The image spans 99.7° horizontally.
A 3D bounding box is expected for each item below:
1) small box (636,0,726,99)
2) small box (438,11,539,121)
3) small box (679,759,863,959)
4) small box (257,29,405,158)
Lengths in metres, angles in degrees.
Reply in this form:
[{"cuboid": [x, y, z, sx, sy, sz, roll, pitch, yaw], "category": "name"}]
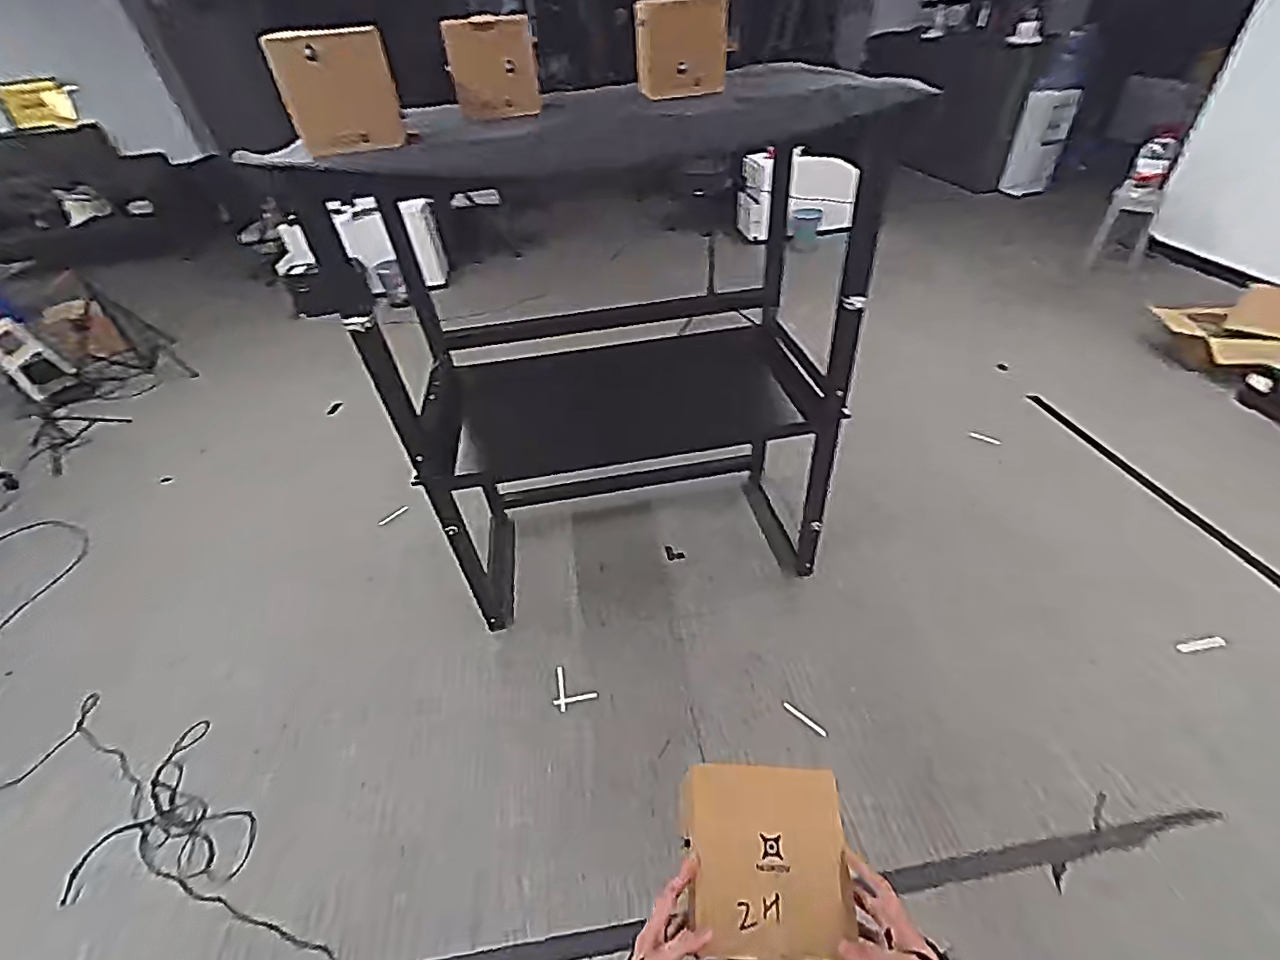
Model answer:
[{"cuboid": [0.086, -0.956, 1.193, 0.168, 0.176, 0.179, -9, 42, -3], "category": "small box"}, {"cuboid": [-0.314, -0.886, 1.162, 0.168, 0.176, 0.179, -7, 42, -2], "category": "small box"}, {"cuboid": [0.137, 0.447, 0.642, 0.168, 0.176, 0.179, 3, 54, -1], "category": "small box"}, {"cuboid": [-0.533, -0.688, 0.963, 0.168, 0.176, 0.179, -14, 42, -9], "category": "small box"}]
